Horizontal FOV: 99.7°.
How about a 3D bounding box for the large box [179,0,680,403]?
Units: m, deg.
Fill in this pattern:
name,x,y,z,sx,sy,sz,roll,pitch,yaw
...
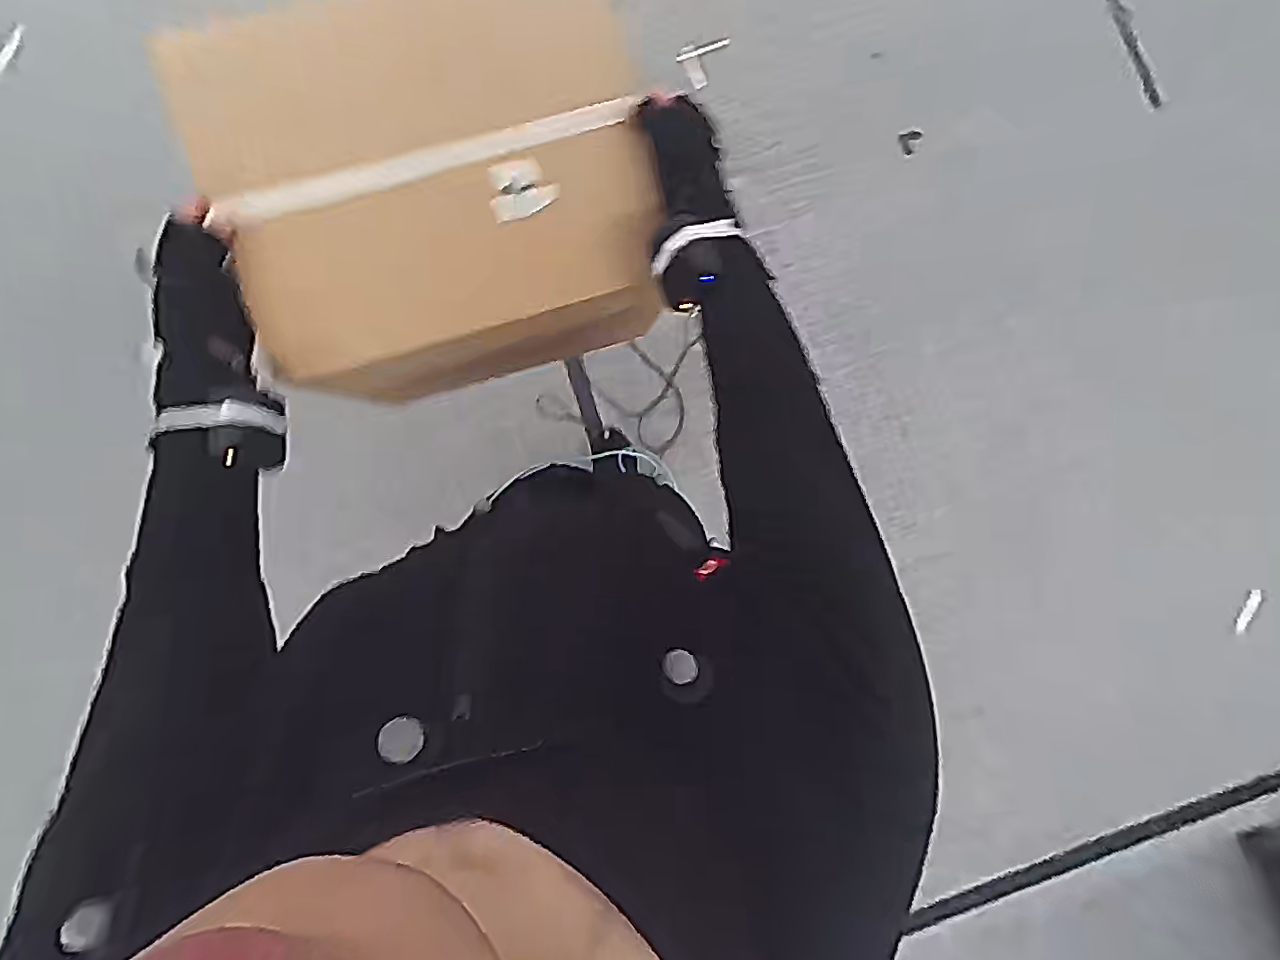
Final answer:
name,x,y,z,sx,sy,sz,roll,pitch,yaw
large box,-0.208,-0.311,0.669,0.408,0.320,0.320,-18,96,-6
